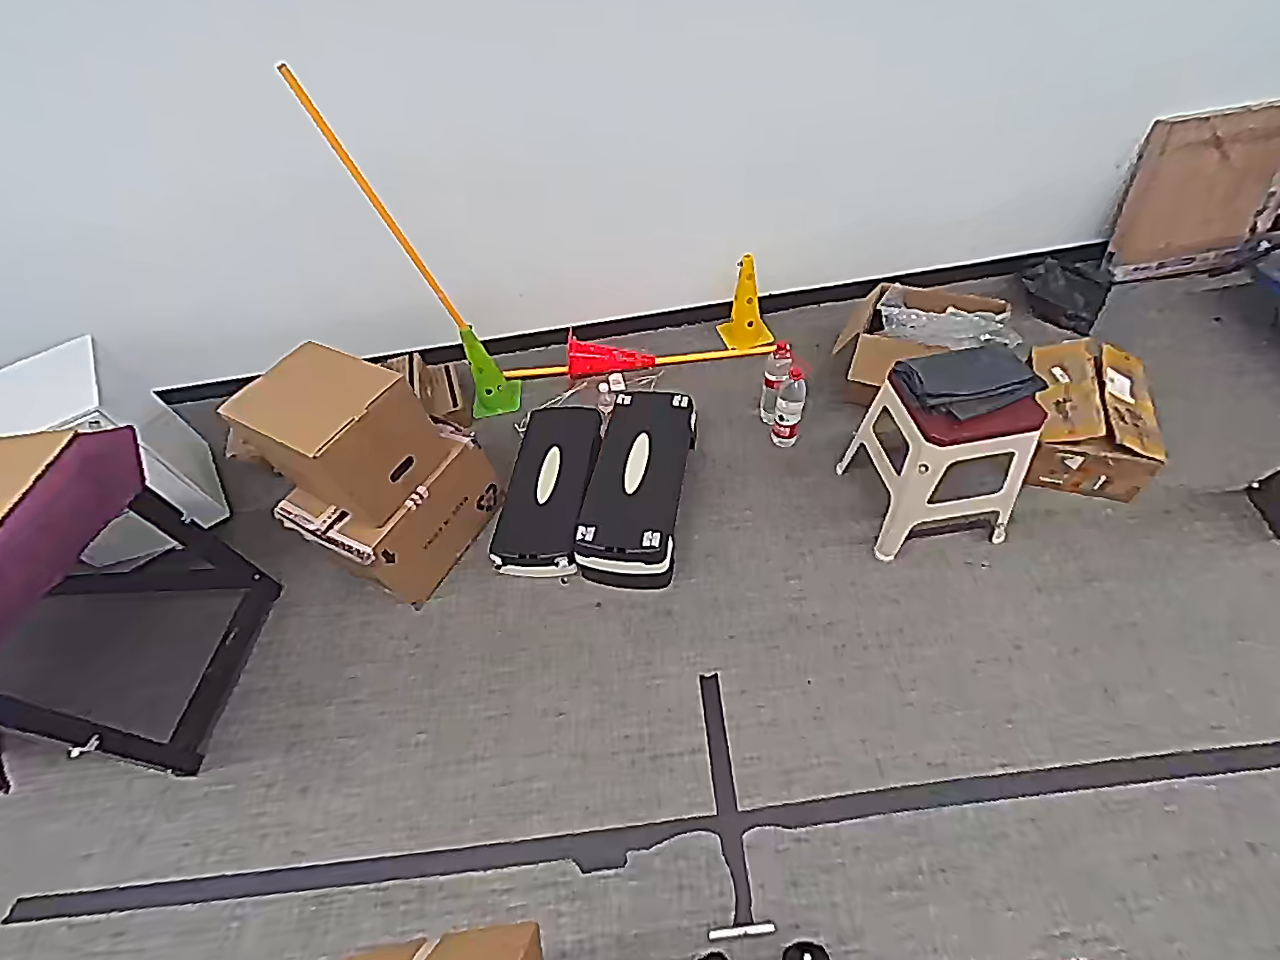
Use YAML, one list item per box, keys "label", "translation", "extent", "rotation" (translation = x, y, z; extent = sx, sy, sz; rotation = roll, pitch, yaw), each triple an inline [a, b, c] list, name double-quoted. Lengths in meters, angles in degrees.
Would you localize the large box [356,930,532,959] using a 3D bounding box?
- label: "large box"
  translation: [-0.295, 0.809, 0.598]
  extent: [0.320, 0.408, 0.320]
  rotation: [-12, 76, 0]
